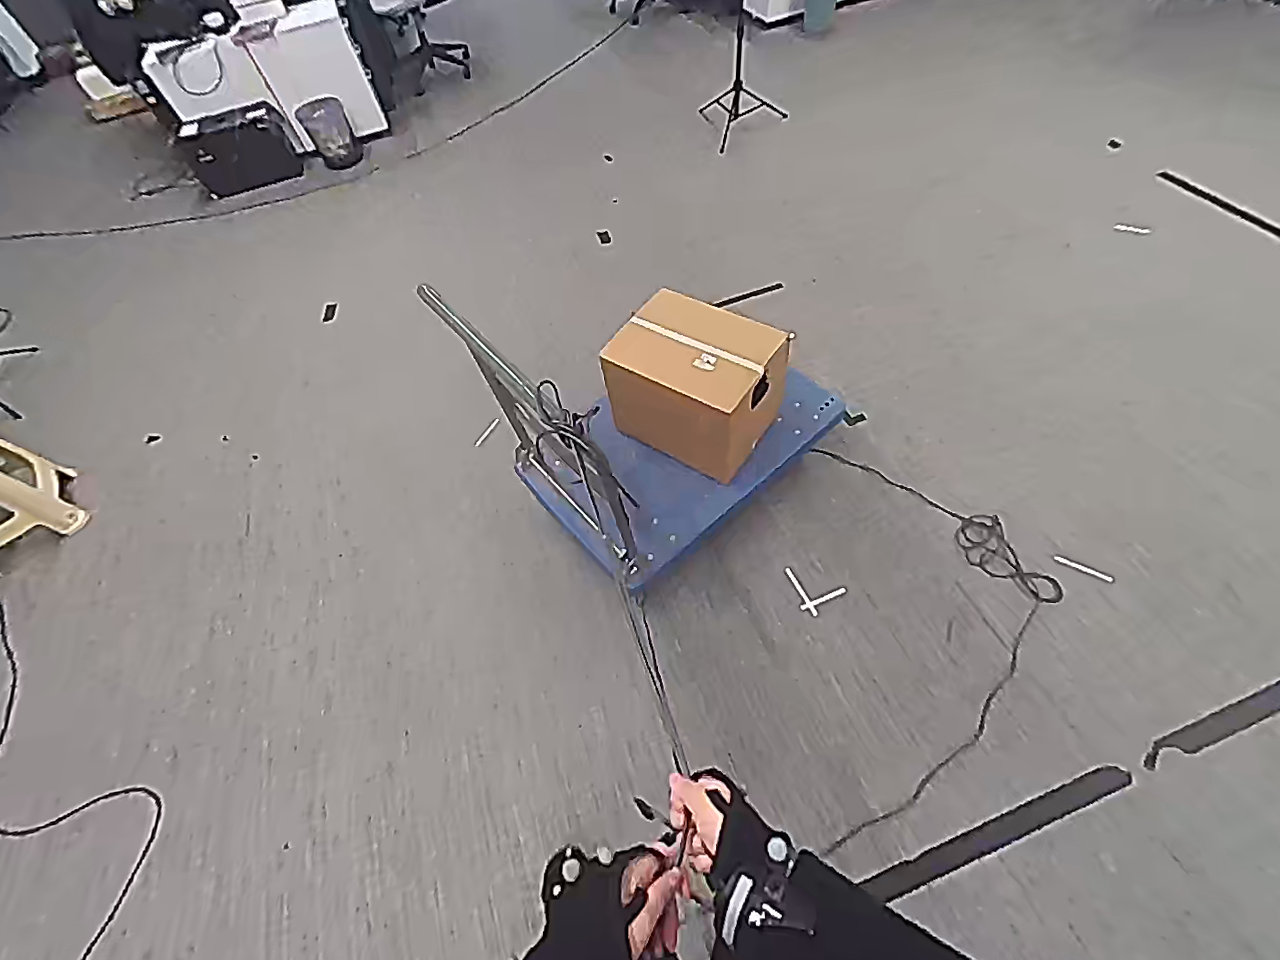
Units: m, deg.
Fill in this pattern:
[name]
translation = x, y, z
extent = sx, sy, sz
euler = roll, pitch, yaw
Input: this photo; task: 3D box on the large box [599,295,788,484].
[large box]
translation = 0.148, -0.256, 1.526
extent = 0.408, 0.320, 0.320
euler = 28, 65, 22
